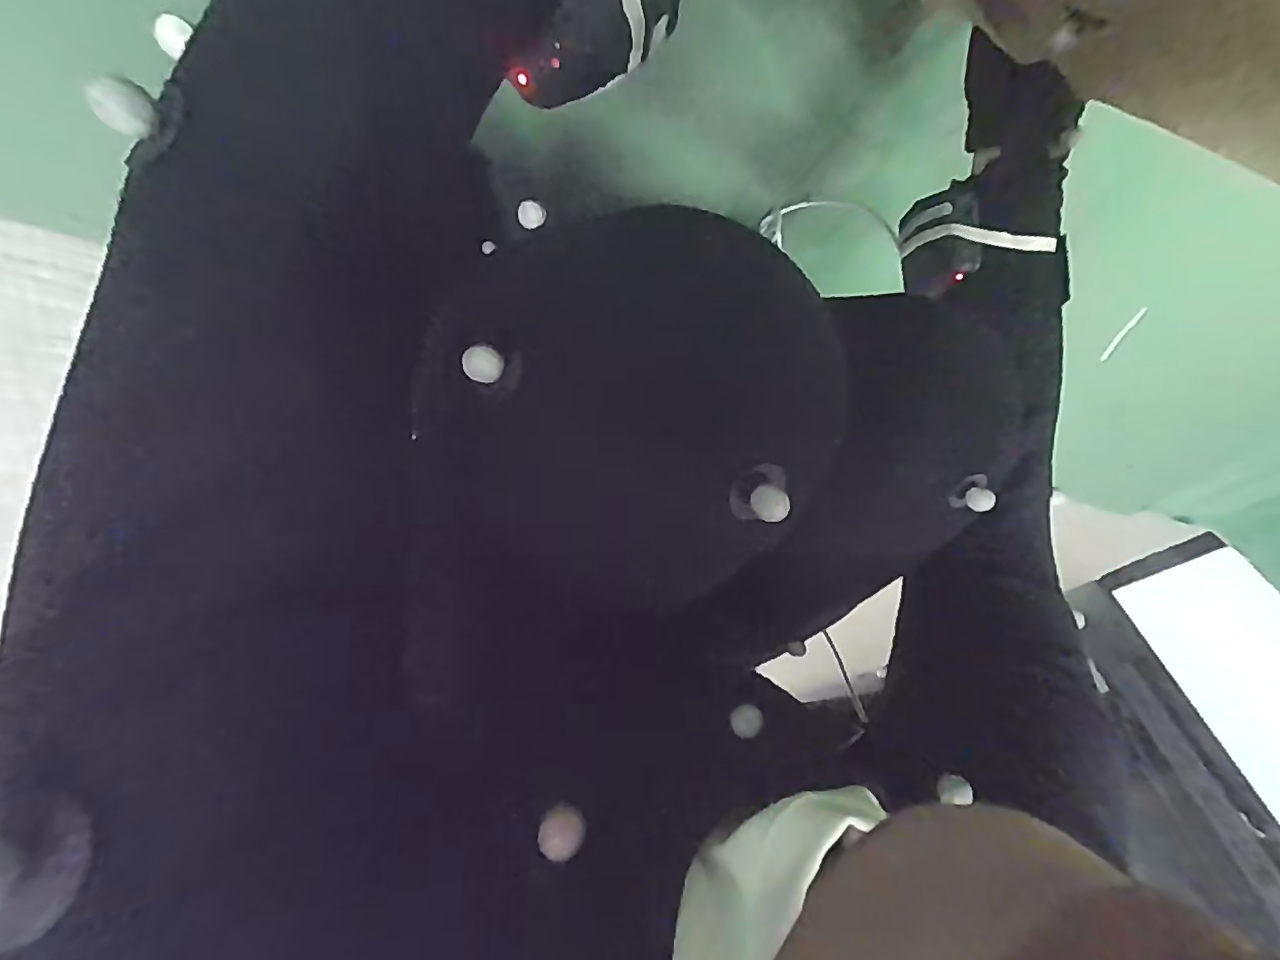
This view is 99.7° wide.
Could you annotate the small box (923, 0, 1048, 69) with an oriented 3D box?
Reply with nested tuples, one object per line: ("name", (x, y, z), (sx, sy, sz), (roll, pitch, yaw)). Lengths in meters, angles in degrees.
("small box", (0.204, -0.351, 0.254), (0.168, 0.176, 0.179), (11, 137, -33))
